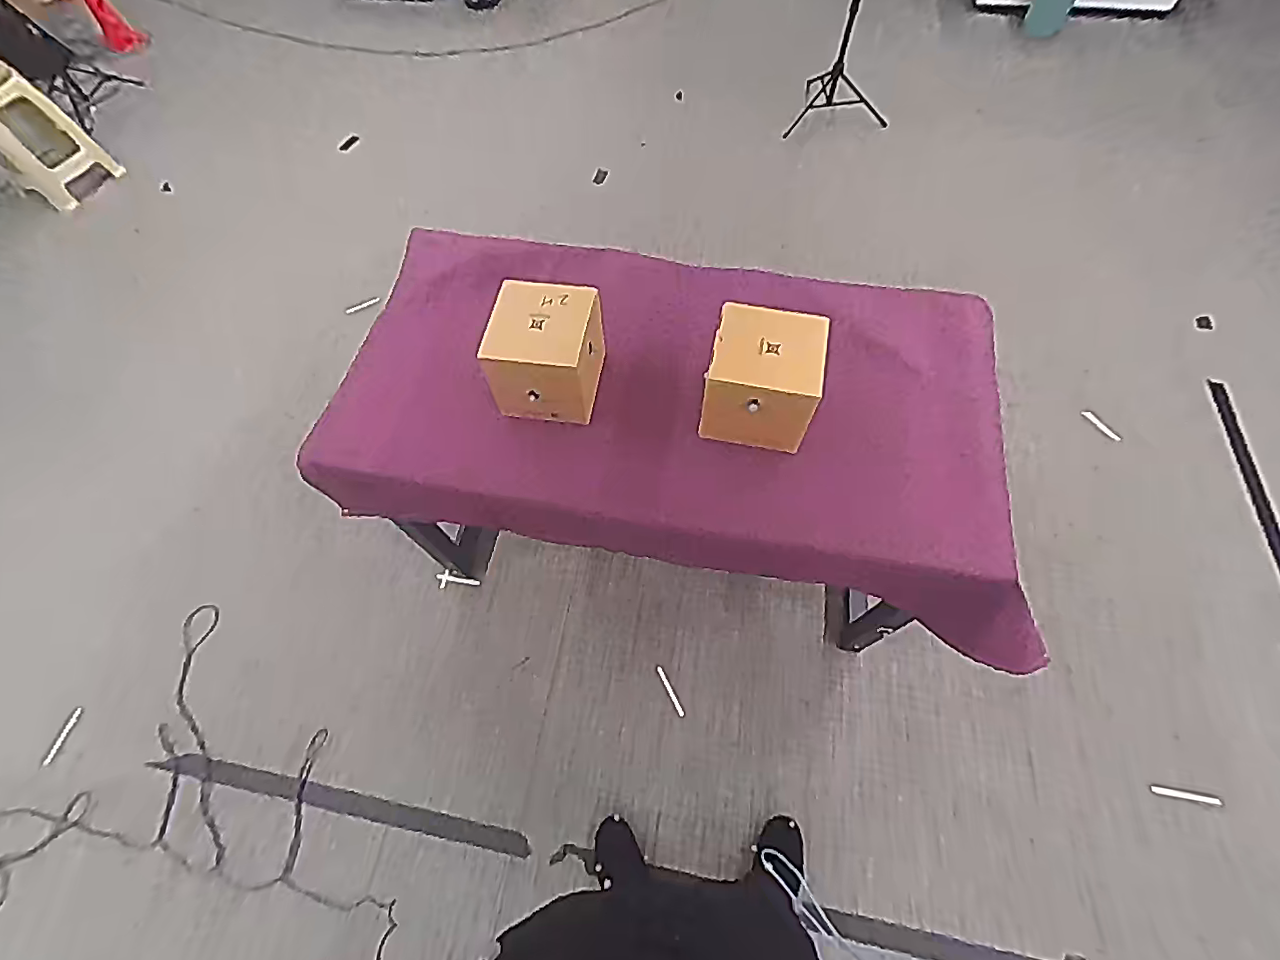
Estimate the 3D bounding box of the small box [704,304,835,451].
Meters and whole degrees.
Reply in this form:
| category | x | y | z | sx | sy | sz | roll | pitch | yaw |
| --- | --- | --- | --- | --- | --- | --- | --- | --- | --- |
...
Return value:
| category | x | y | z | sx | sy | sz | roll | pitch | yaw |
| --- | --- | --- | --- | --- | --- | --- | --- | --- | --- |
| small box | 0.212 | -0.166 | 0.915 | 0.179 | 0.176 | 0.168 | 11 | 64 | 8 |

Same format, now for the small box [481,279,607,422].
| category | x | y | z | sx | sy | sz | roll | pitch | yaw |
| --- | --- | --- | --- | --- | --- | --- | --- | --- | --- |
| small box | -0.157 | -0.221 | 0.953 | 0.168 | 0.176 | 0.179 | 8 | 63 | 5 |
